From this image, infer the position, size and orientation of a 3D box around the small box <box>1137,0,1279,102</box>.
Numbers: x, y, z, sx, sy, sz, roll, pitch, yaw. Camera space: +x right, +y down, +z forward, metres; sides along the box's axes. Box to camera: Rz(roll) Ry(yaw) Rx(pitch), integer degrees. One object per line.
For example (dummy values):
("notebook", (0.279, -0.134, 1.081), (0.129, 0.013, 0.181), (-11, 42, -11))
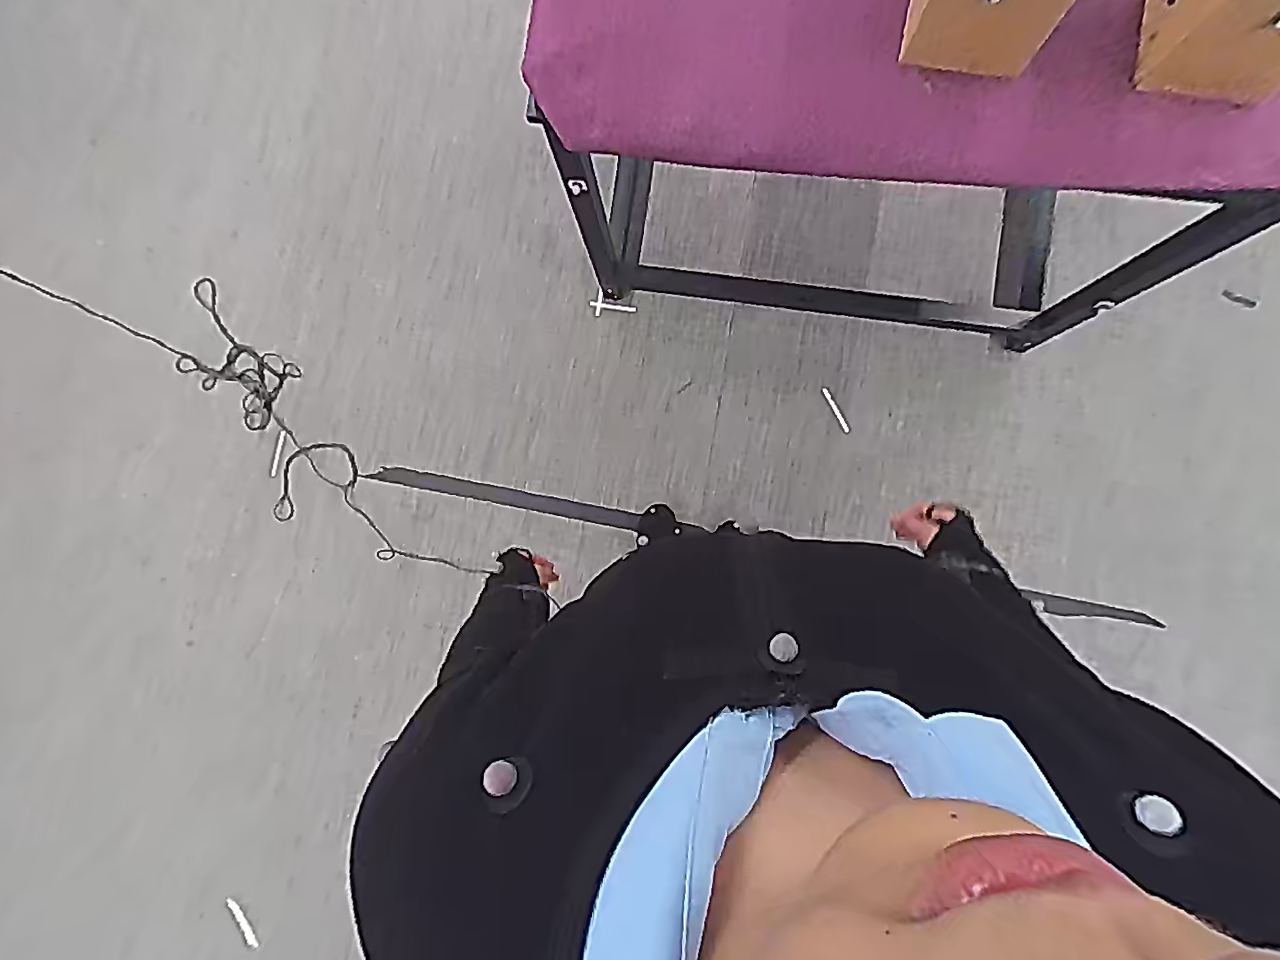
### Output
("small box", (0.817, -0.636, 0.703), (0.179, 0.176, 0.168), (12, 85, 6))

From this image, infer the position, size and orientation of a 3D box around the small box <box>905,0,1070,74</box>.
("small box", (0.488, -0.696, 0.732), (0.179, 0.176, 0.168), (12, 87, 5))
